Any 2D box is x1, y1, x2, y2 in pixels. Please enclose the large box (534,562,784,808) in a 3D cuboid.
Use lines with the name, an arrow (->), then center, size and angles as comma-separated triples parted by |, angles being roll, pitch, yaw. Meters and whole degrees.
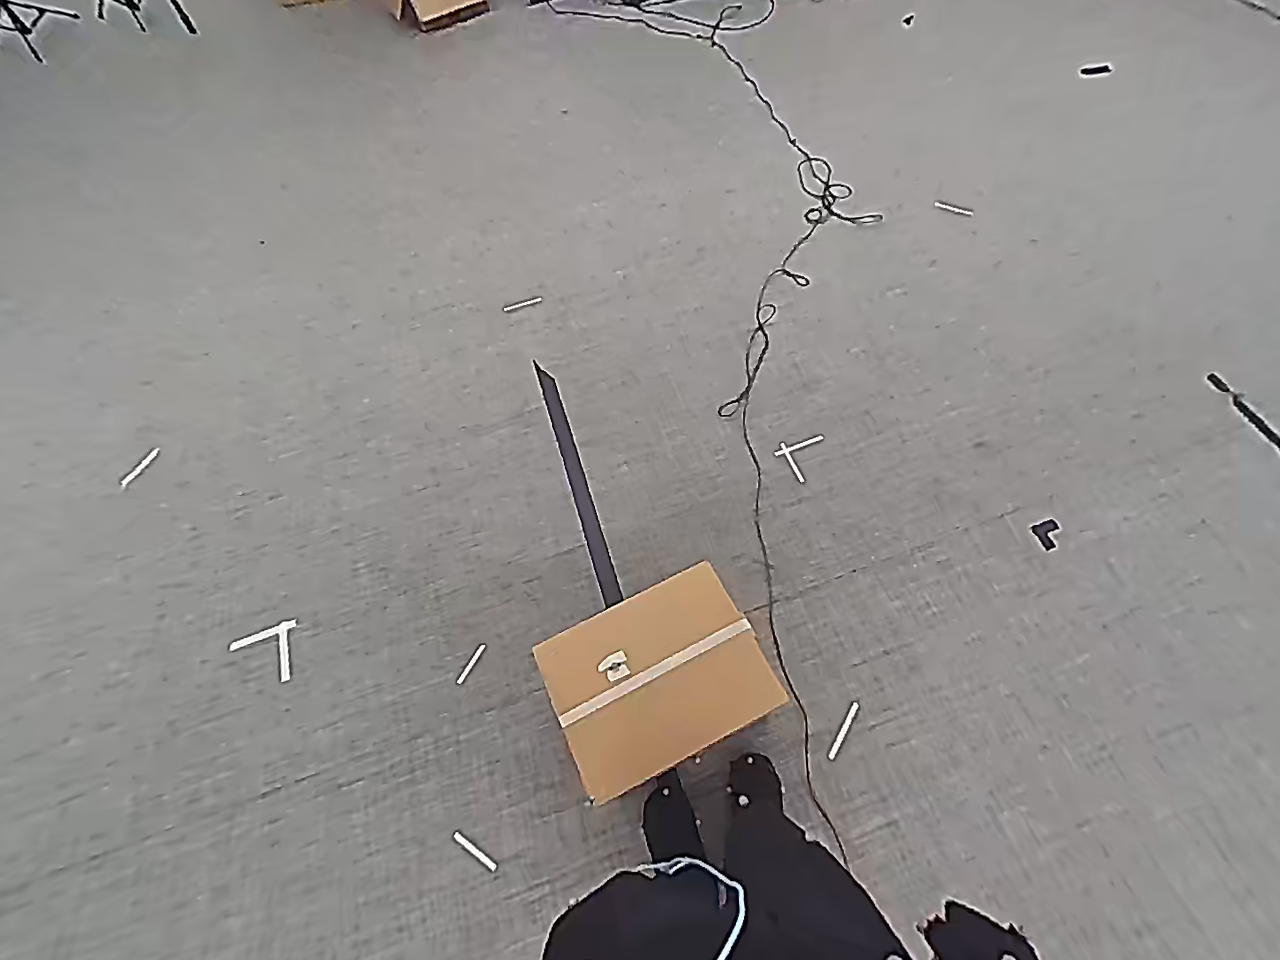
large box -> 0.043, 0.440, 1.172 | 0.408, 0.320, 0.320 | -26, 62, -7
